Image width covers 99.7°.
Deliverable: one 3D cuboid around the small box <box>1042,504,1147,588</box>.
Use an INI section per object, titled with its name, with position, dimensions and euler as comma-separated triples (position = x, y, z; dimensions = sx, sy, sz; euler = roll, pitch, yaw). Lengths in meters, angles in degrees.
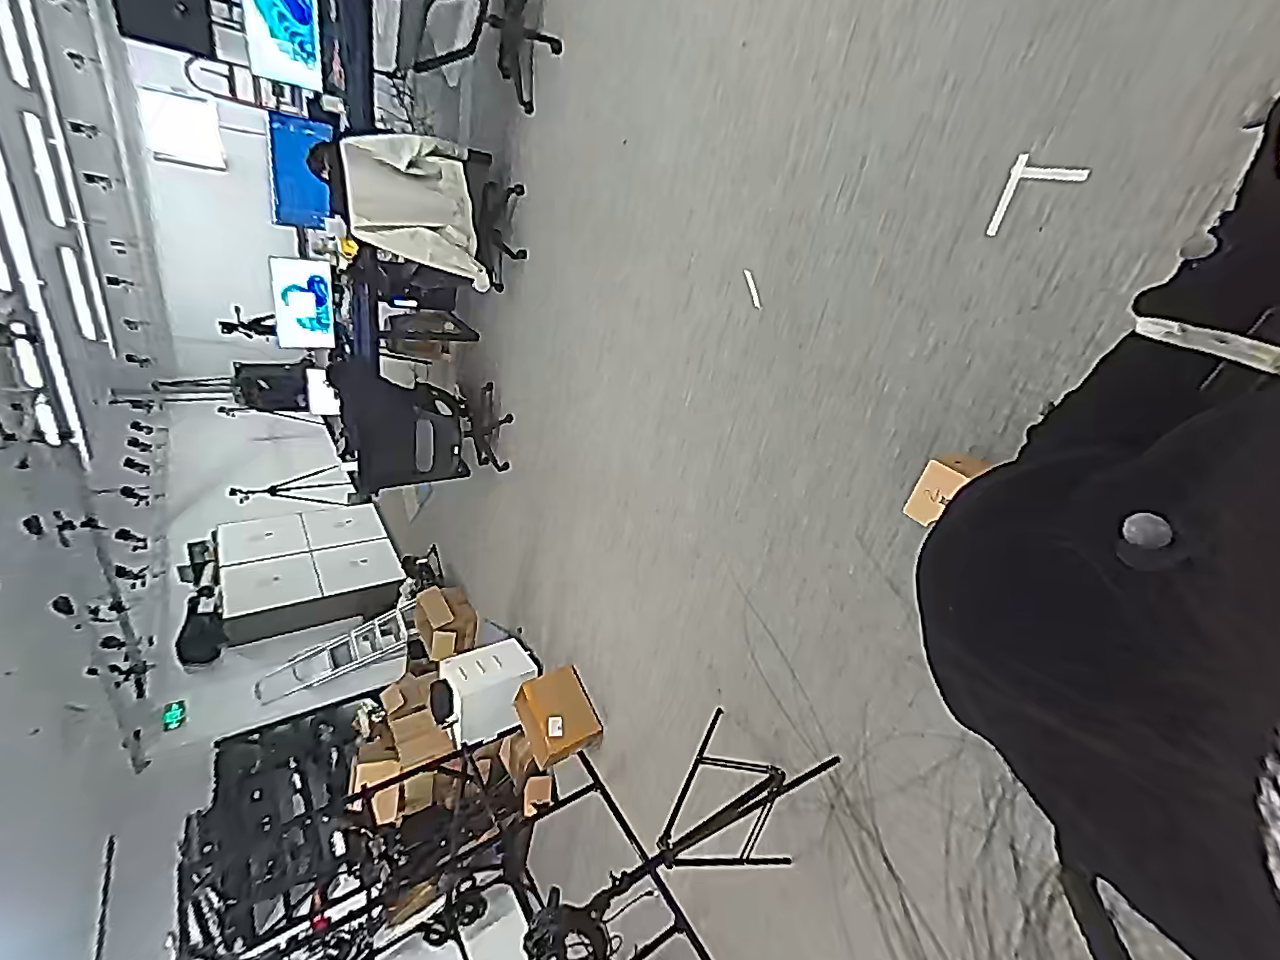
[small box]
position = 0.966, 0.175, 1.196
dimensions = 0.168, 0.176, 0.179
euler = 42, 129, 39
